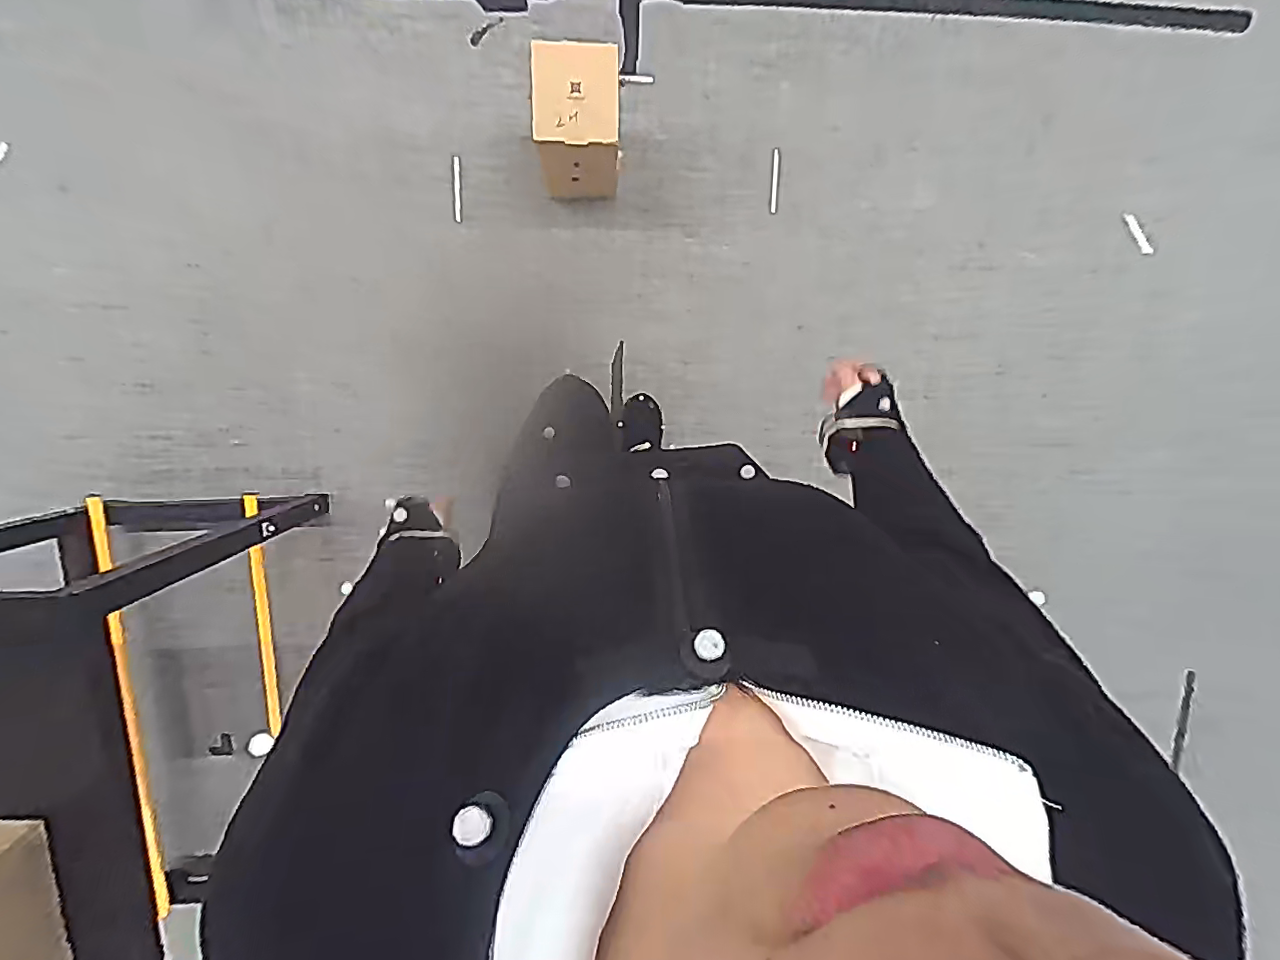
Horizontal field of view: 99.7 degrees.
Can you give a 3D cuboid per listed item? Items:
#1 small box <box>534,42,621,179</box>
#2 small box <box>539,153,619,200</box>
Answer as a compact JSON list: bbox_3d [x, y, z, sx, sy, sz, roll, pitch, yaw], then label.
[{"bbox_3d":[-0.125,-0.741,1.101,0.168,0.176,0.179,0,100,-4],"label":"small box"},{"bbox_3d":[-0.141,-0.769,1.263,0.179,0.176,0.168,-4,100,-4],"label":"small box"}]
